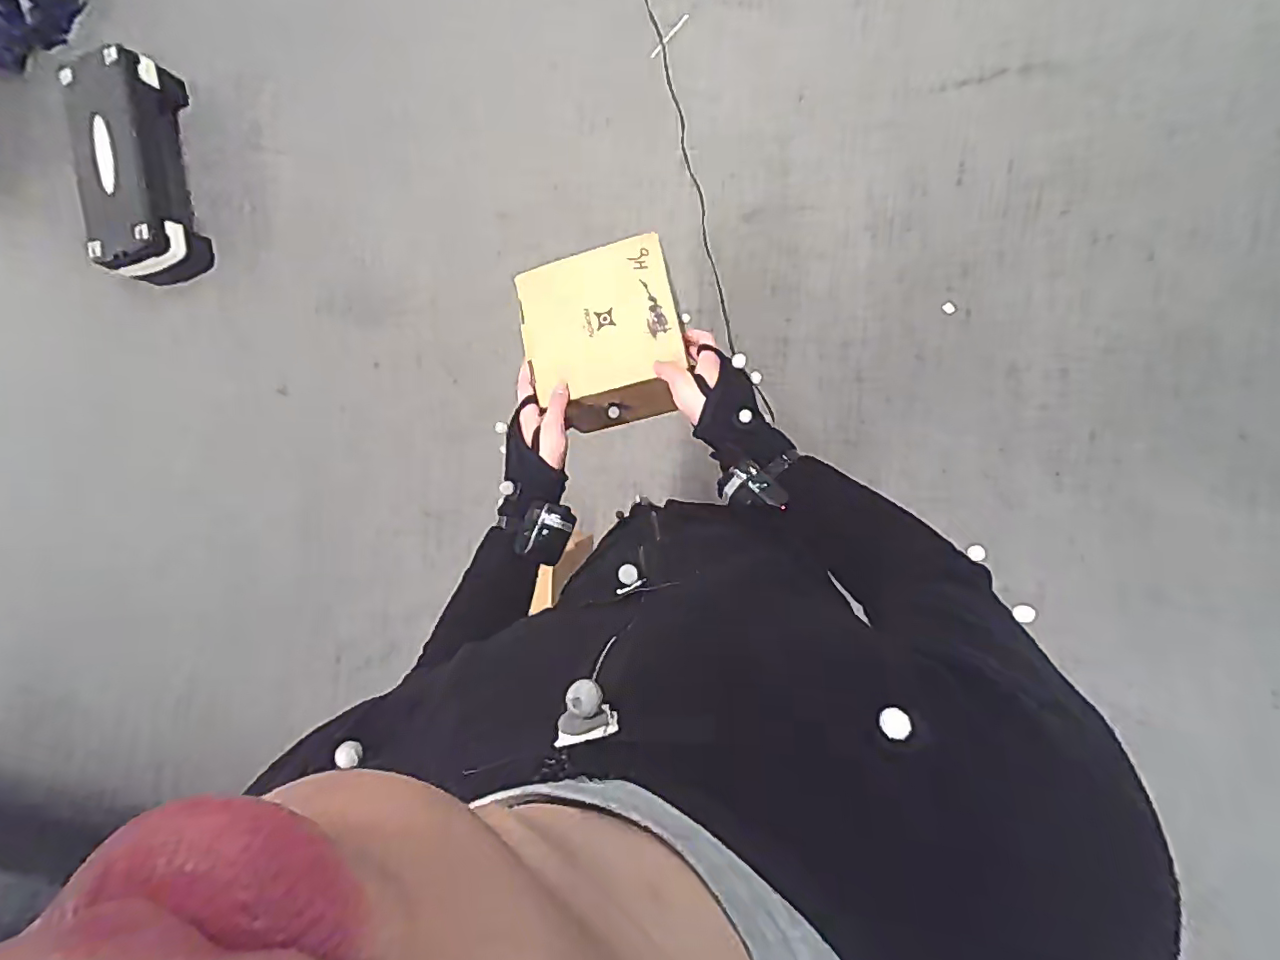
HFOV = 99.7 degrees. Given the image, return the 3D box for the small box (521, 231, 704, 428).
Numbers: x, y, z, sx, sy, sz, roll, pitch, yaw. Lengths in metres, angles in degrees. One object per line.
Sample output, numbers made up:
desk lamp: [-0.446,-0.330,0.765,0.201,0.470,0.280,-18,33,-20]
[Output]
small box: [-0.026,-0.173,0.683,0.179,0.176,0.168,-13,83,10]

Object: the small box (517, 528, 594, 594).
small box: [-0.243,0.236,1.568,0.179,0.176,0.168,2,95,12]

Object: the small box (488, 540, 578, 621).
small box: [-0.276,0.254,1.407,0.179,0.176,0.168,3,95,12]
